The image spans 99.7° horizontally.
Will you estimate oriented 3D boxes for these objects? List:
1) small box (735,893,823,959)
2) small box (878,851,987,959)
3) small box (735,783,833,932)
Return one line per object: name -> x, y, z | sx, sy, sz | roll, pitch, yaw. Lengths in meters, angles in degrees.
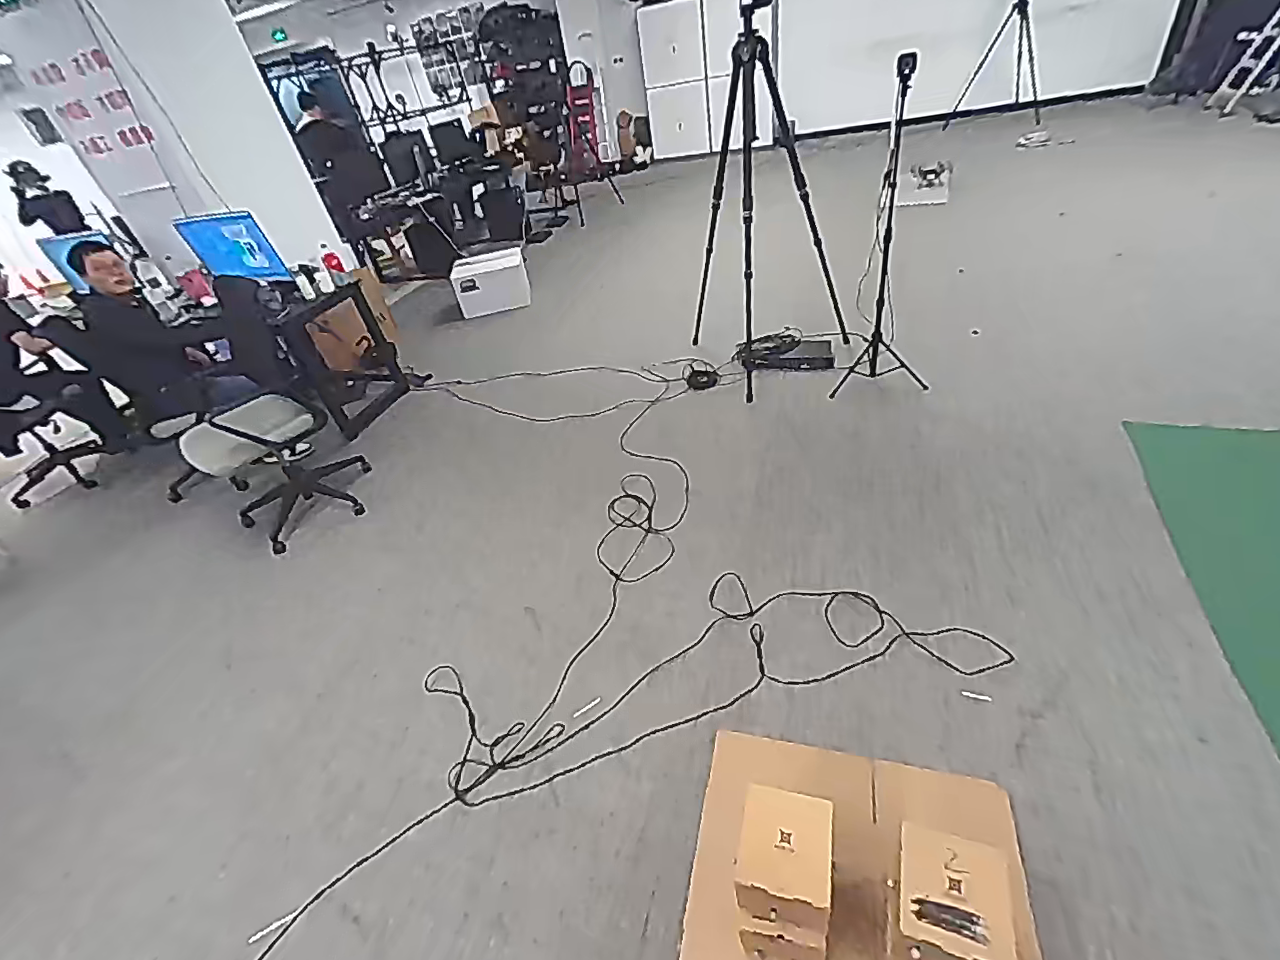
small box -> 0.297, 0.874, 1.135 | 0.168, 0.176, 0.179 | 1, 40, 17
small box -> 0.566, 0.878, 1.060 | 0.168, 0.176, 0.179 | 5, 42, 23
small box -> 0.281, 0.732, 1.053 | 0.168, 0.176, 0.179 | 3, 41, 19
